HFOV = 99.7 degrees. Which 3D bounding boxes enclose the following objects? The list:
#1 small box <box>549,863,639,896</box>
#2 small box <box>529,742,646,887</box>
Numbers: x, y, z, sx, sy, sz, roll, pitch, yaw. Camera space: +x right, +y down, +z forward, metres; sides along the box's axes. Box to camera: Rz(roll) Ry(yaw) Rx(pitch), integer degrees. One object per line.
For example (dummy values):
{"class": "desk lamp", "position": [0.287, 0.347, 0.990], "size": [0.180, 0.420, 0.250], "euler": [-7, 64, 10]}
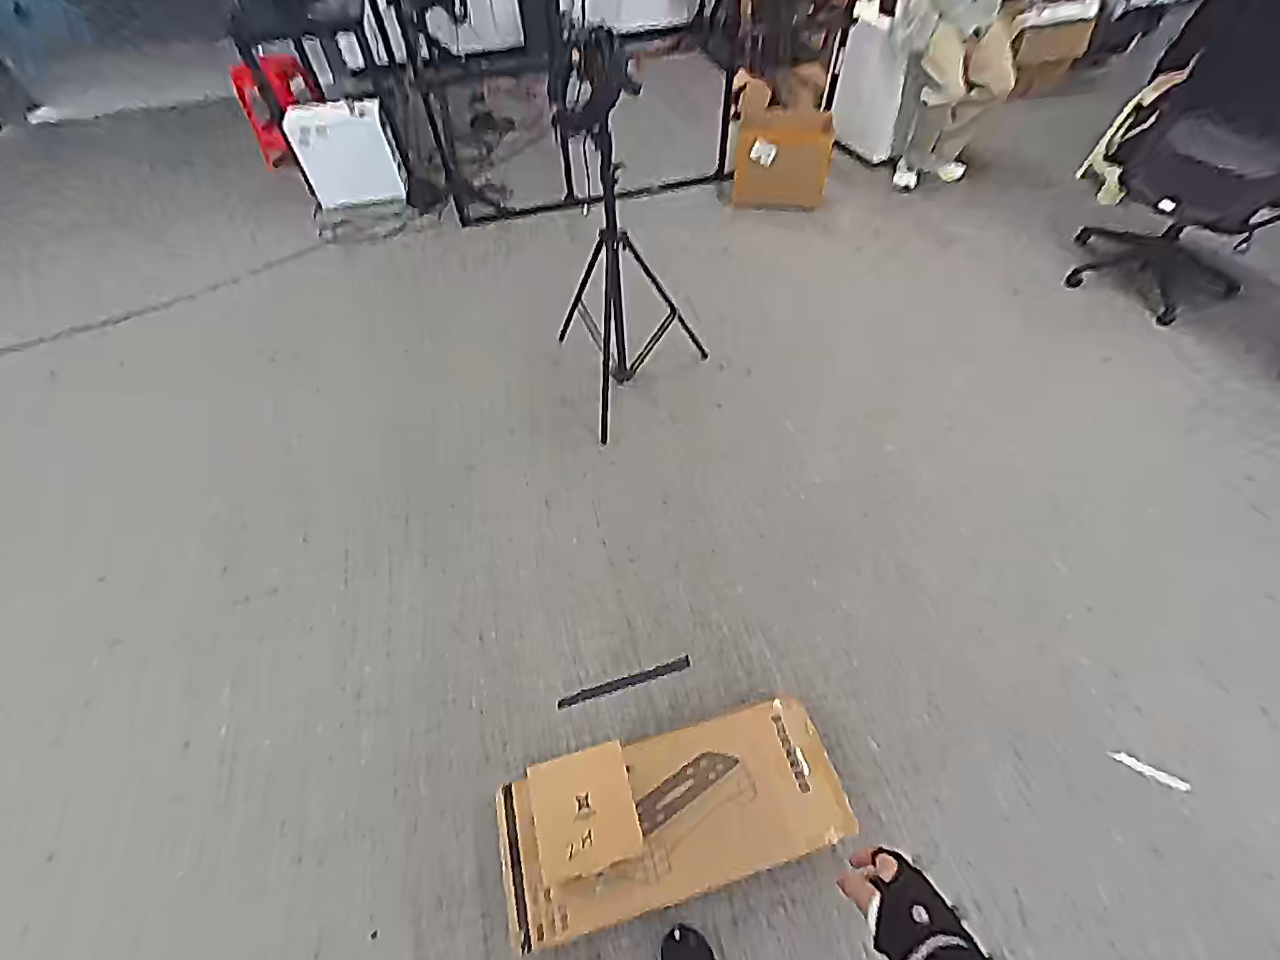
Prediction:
{"class": "small box", "position": [-0.103, 0.702, 1.081], "size": [0.168, 0.176, 0.179], "euler": [-15, 55, -9]}
{"class": "small box", "position": [-0.091, 0.593, 0.955], "size": [0.168, 0.176, 0.179], "euler": [-14, 54, -8]}
